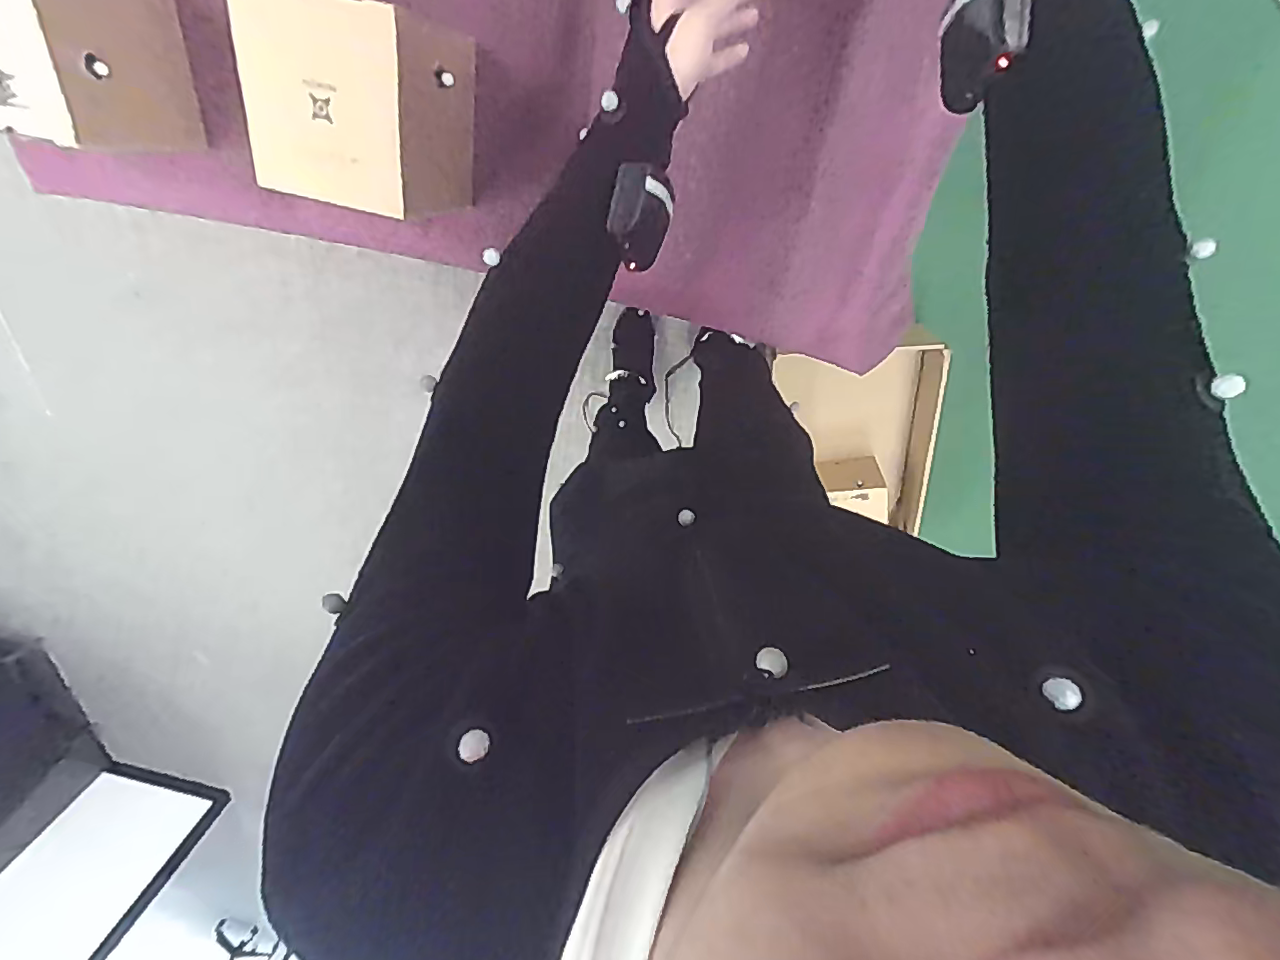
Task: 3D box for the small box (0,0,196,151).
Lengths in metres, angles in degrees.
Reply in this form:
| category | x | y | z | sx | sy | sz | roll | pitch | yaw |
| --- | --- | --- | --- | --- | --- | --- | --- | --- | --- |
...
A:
| category | x | y | z | sx | sy | sz | roll | pitch | yaw |
| --- | --- | --- | --- | --- | --- | --- | --- | --- | --- |
| small box | -0.648 | -0.478 | 0.600 | 0.168 | 0.176 | 0.179 | 12 | 121 | 3 |

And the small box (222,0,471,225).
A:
| category | x | y | z | sx | sy | sz | roll | pitch | yaw |
| --- | --- | --- | --- | --- | --- | --- | --- | --- | --- |
| small box | -0.295 | -0.395 | 0.583 | 0.168 | 0.176 | 0.179 | 15 | 122 | 3 |
